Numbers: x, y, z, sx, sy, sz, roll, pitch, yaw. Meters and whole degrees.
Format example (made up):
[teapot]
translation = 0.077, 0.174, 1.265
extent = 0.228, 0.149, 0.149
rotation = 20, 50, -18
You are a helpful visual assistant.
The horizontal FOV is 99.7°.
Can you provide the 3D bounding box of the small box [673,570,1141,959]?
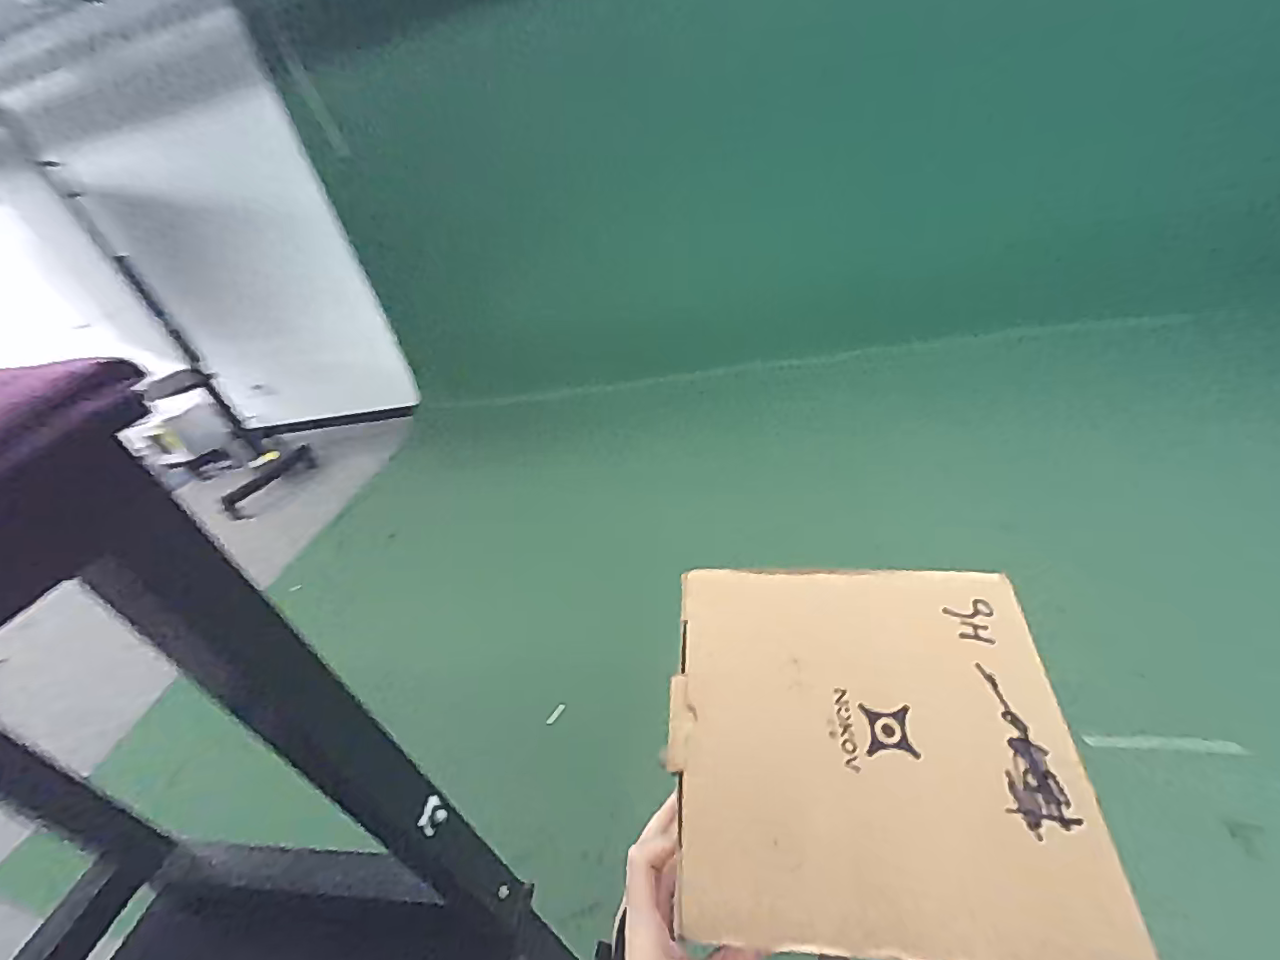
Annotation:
[small box]
translation = 0.117, 0.168, 0.321
extent = 0.179, 0.176, 0.168
rotation = 0, 51, 8
